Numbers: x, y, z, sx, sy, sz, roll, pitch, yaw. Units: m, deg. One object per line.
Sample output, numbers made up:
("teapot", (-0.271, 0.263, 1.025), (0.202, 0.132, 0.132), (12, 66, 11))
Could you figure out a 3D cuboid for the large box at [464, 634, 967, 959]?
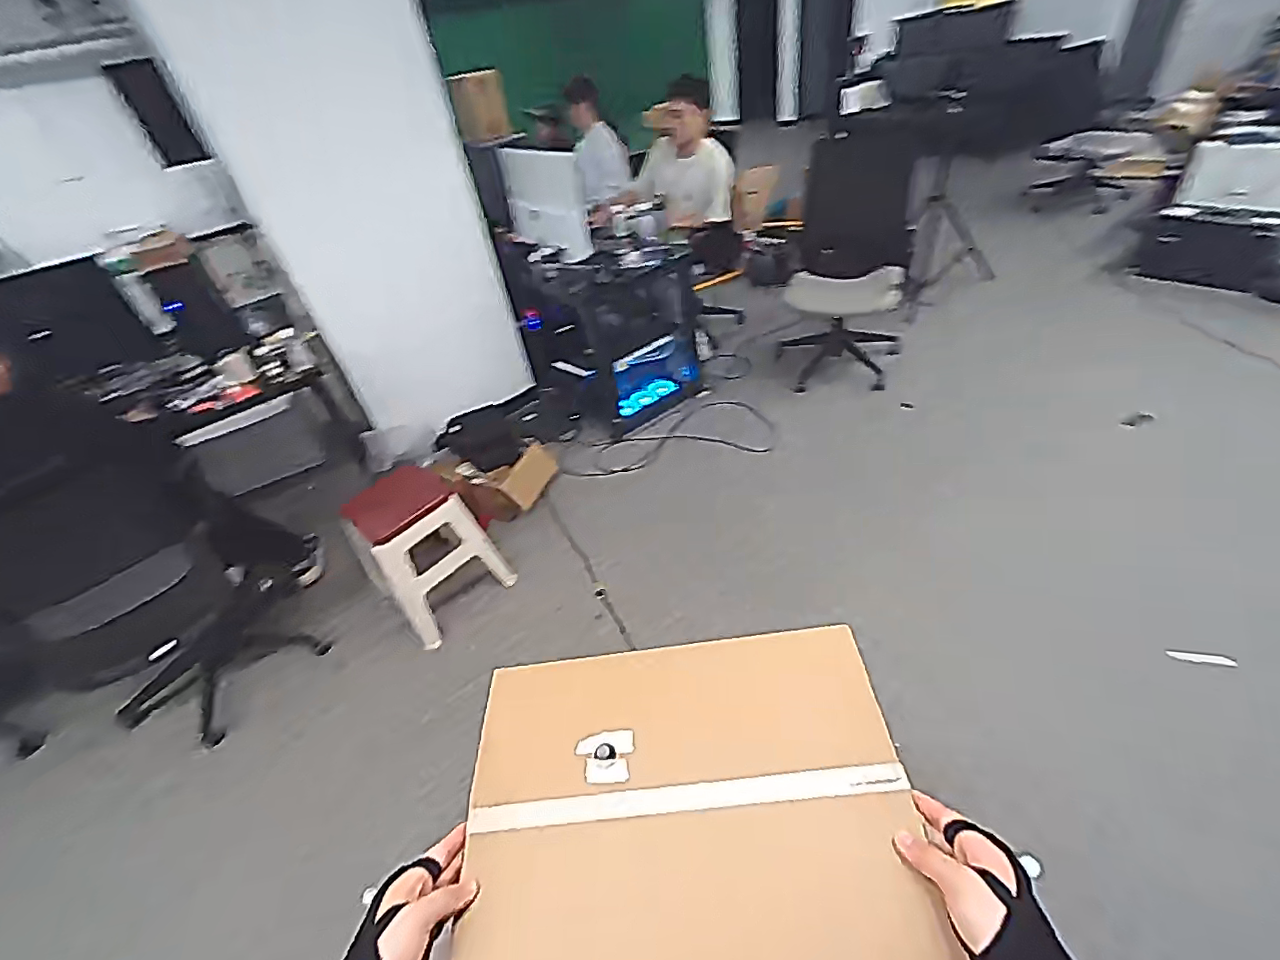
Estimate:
("large box", (0.073, 0.411, 0.604), (0.408, 0.320, 0.320), (-10, 42, 7))
